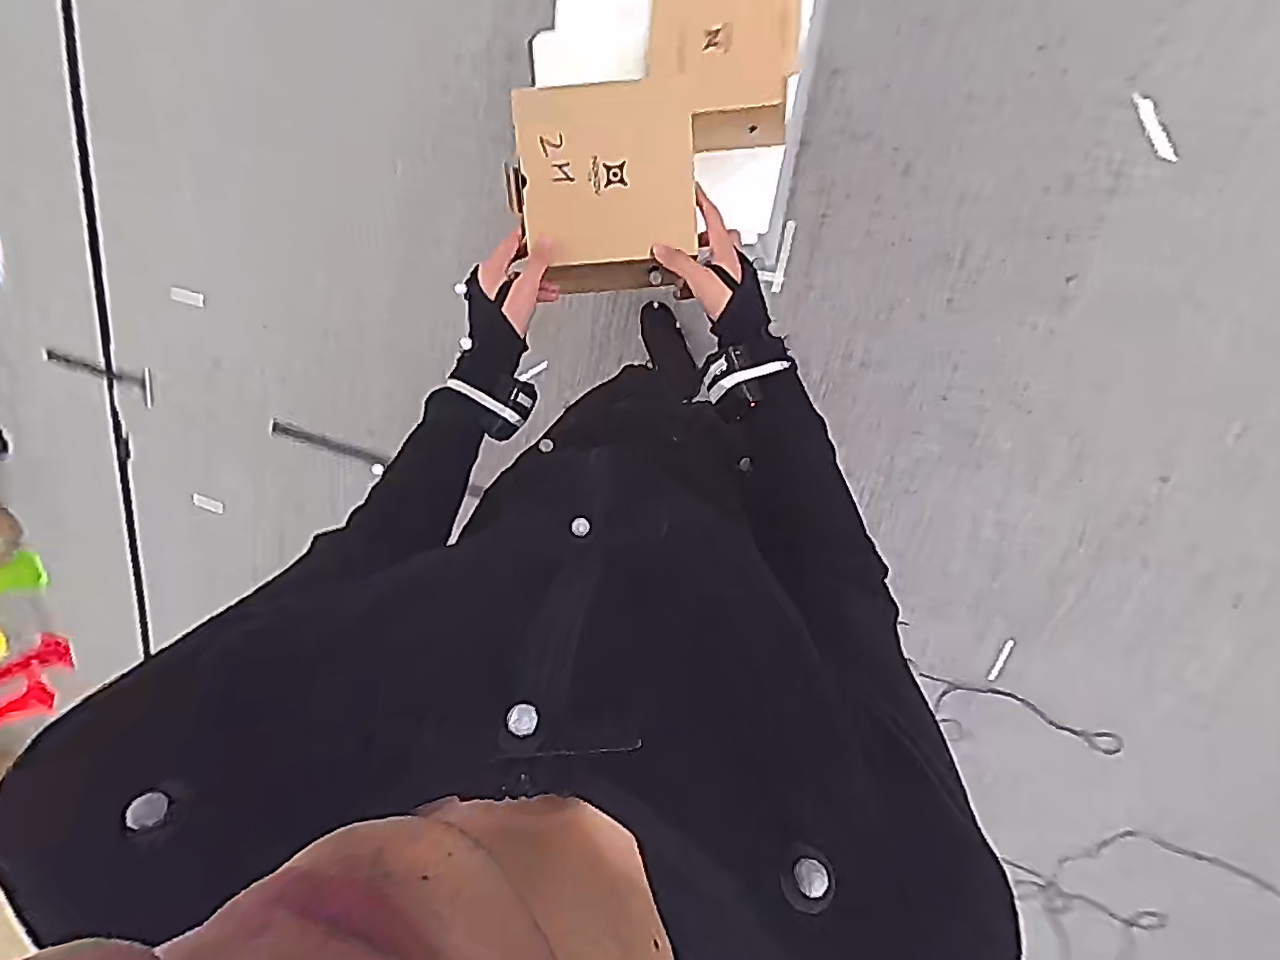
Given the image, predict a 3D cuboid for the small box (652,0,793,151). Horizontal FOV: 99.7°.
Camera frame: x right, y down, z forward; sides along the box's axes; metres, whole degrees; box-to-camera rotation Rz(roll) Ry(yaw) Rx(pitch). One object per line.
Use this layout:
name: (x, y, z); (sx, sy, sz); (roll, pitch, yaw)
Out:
small box: (0.120, -0.581, 0.758); (0.179, 0.176, 0.168); (5, 106, 15)

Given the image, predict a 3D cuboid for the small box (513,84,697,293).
small box: (-0.032, -0.315, 0.619); (0.179, 0.176, 0.168); (-4, 101, 3)
